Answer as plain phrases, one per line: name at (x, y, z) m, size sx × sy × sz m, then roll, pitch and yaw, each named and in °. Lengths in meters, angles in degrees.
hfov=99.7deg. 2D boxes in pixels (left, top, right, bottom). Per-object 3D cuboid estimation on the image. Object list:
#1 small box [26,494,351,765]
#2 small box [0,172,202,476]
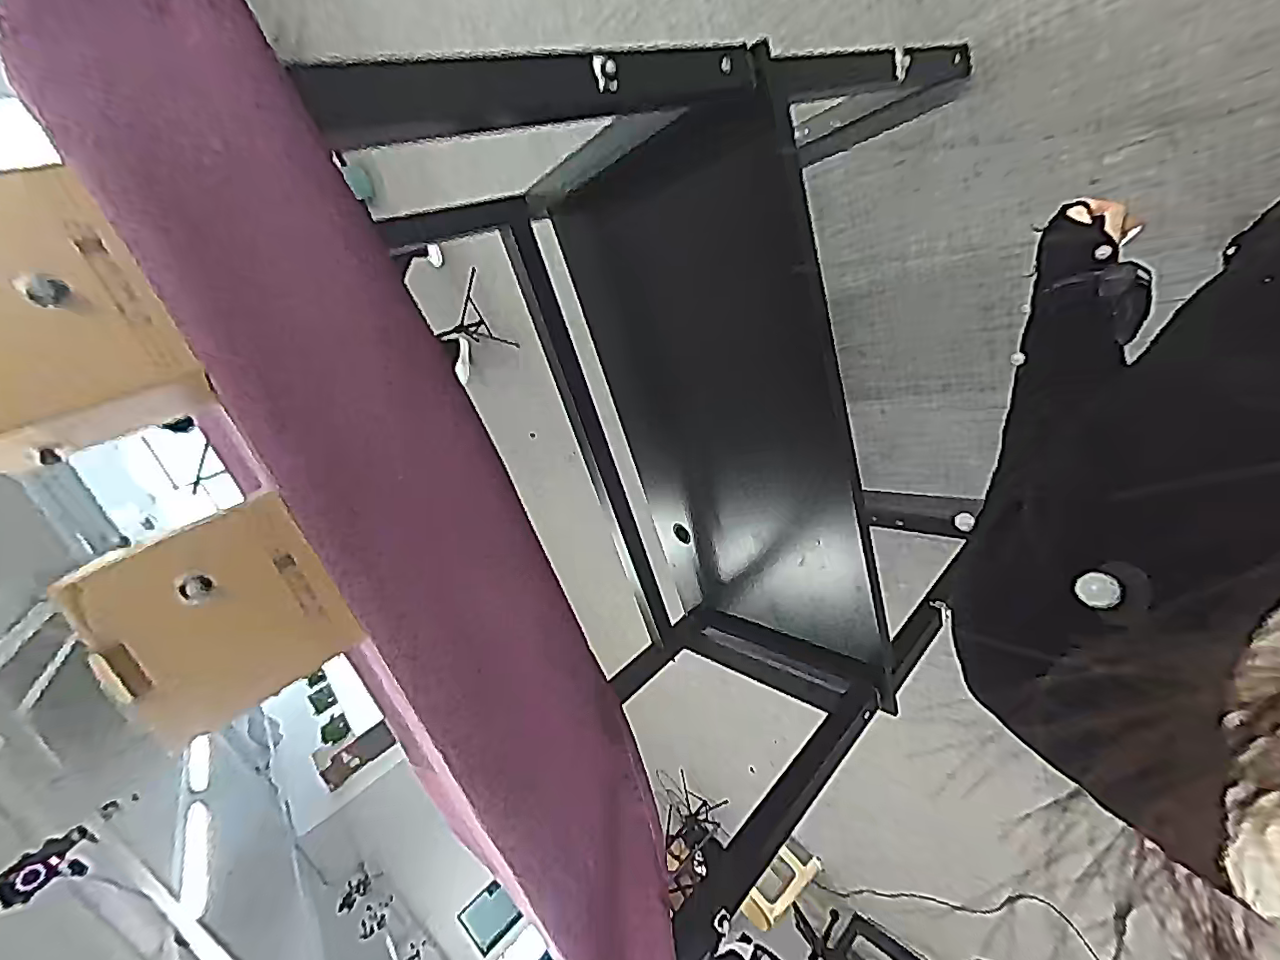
small box at (-0.409, 0.123, 0.524) m, size 0.179 × 0.176 × 0.168 m, roll 1°, pitch 117°, yaw 53°
small box at (-0.483, -0.111, 0.425) m, size 0.179 × 0.176 × 0.168 m, roll -3°, pitch 115°, yaw 55°
